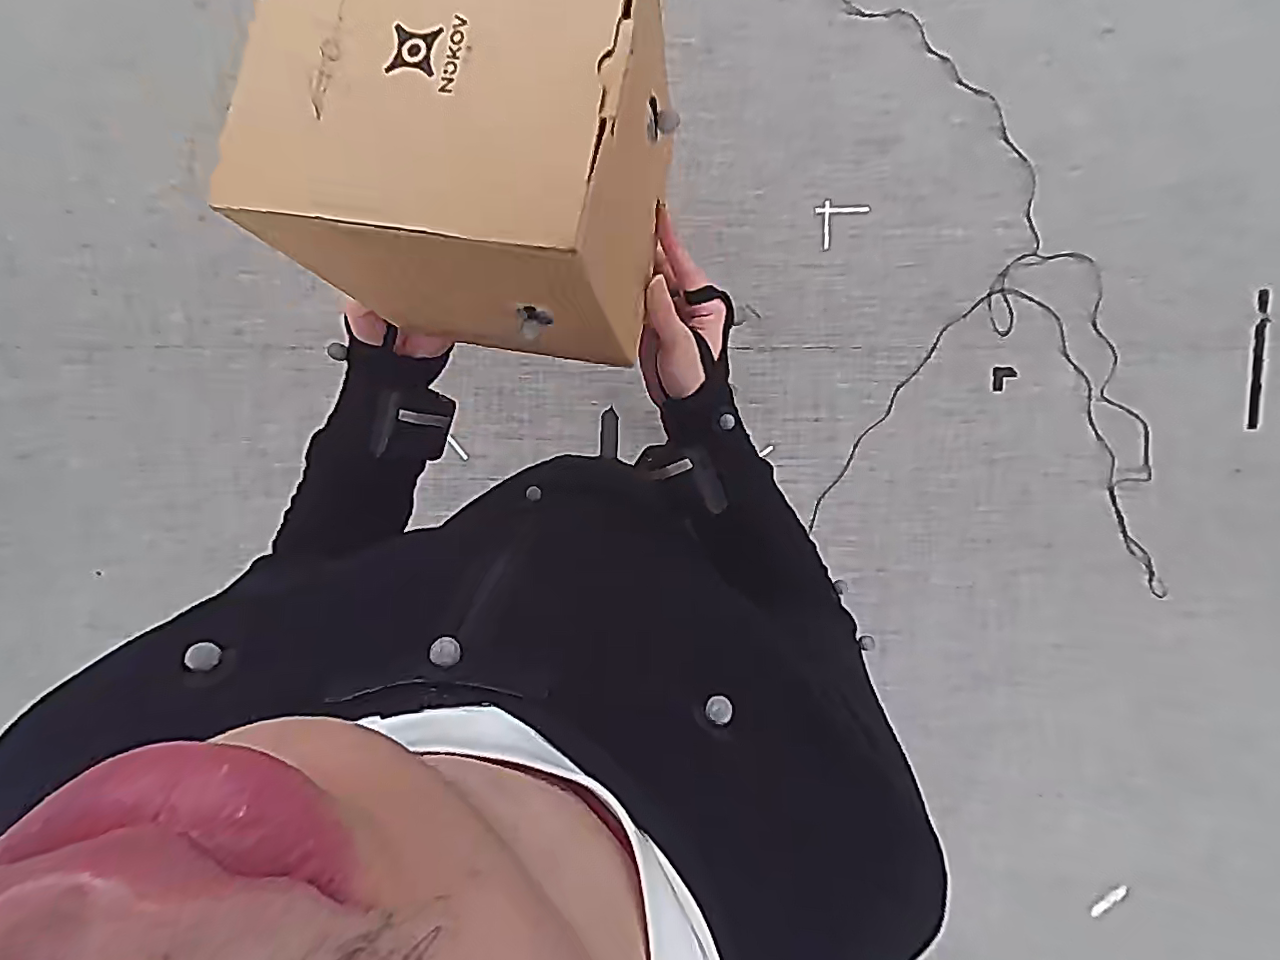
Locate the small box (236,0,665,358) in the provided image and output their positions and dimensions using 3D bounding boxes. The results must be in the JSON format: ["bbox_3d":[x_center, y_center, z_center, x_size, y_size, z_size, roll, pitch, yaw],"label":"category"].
[{"bbox_3d":[-0.084,-0.182,0.327,0.179,0.176,0.168,8,86,8],"label":"small box"}]
